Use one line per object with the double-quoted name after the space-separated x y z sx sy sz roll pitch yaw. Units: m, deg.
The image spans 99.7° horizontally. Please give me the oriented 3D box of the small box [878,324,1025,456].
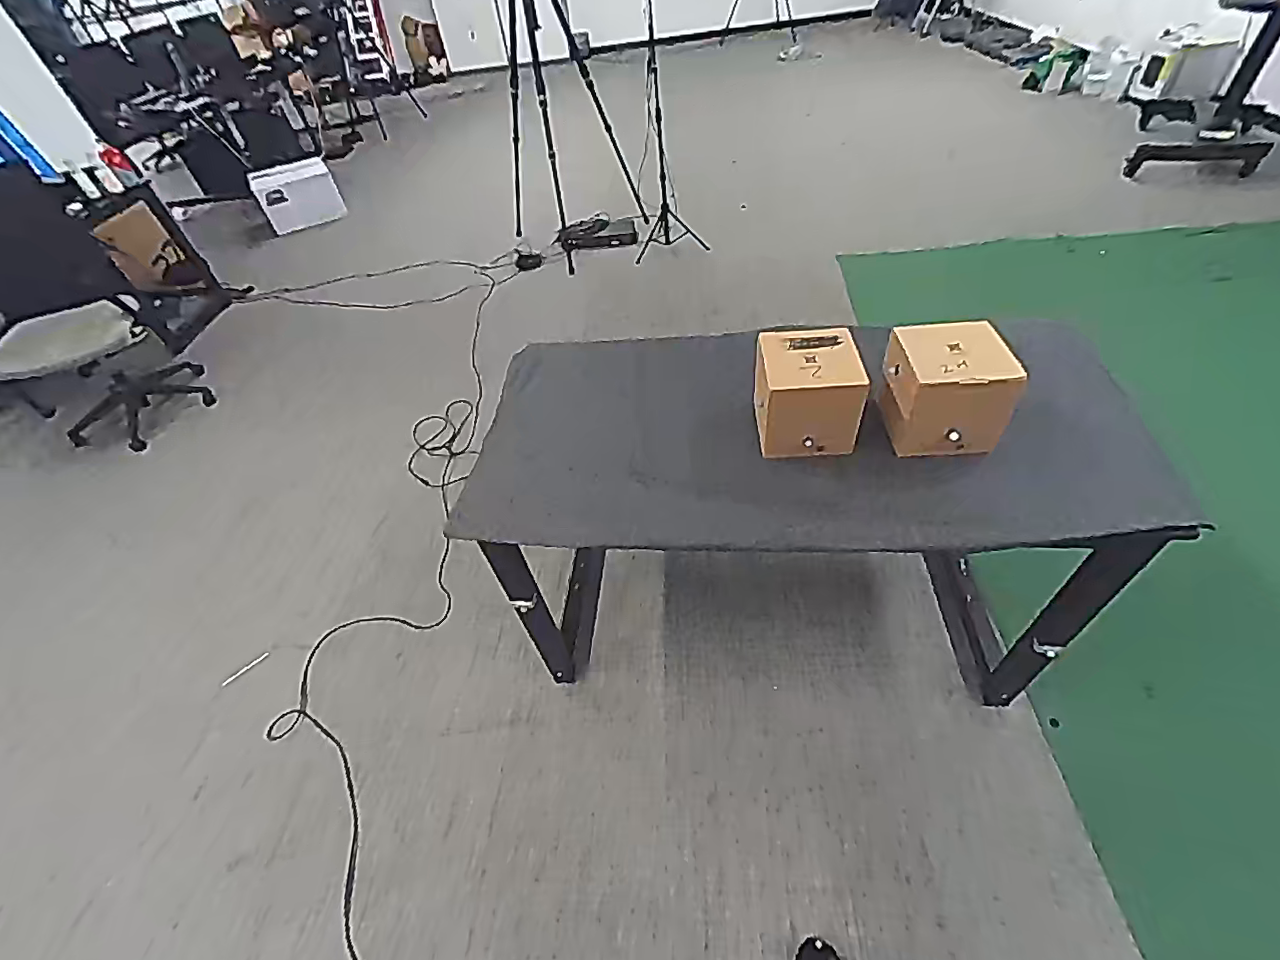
0.549 -0.163 0.985 0.168 0.176 0.179 -2 46 8 "small box"
